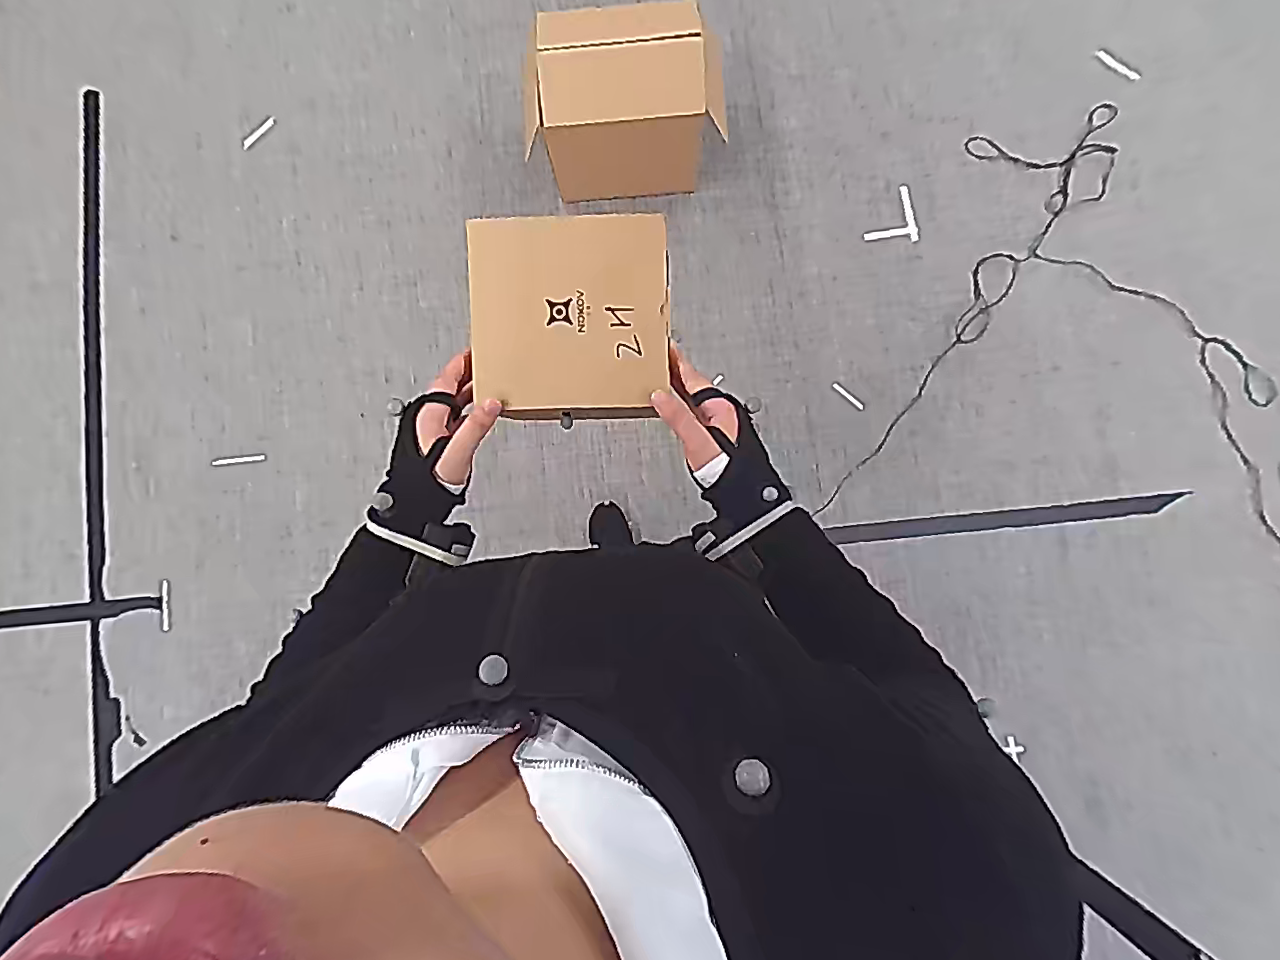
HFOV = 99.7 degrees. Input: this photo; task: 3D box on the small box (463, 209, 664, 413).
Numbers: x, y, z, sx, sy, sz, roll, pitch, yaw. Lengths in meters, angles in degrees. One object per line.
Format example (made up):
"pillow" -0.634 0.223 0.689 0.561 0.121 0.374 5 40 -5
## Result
"small box" -0.065 -0.156 0.552 0.179 0.176 0.168 -1 94 0
